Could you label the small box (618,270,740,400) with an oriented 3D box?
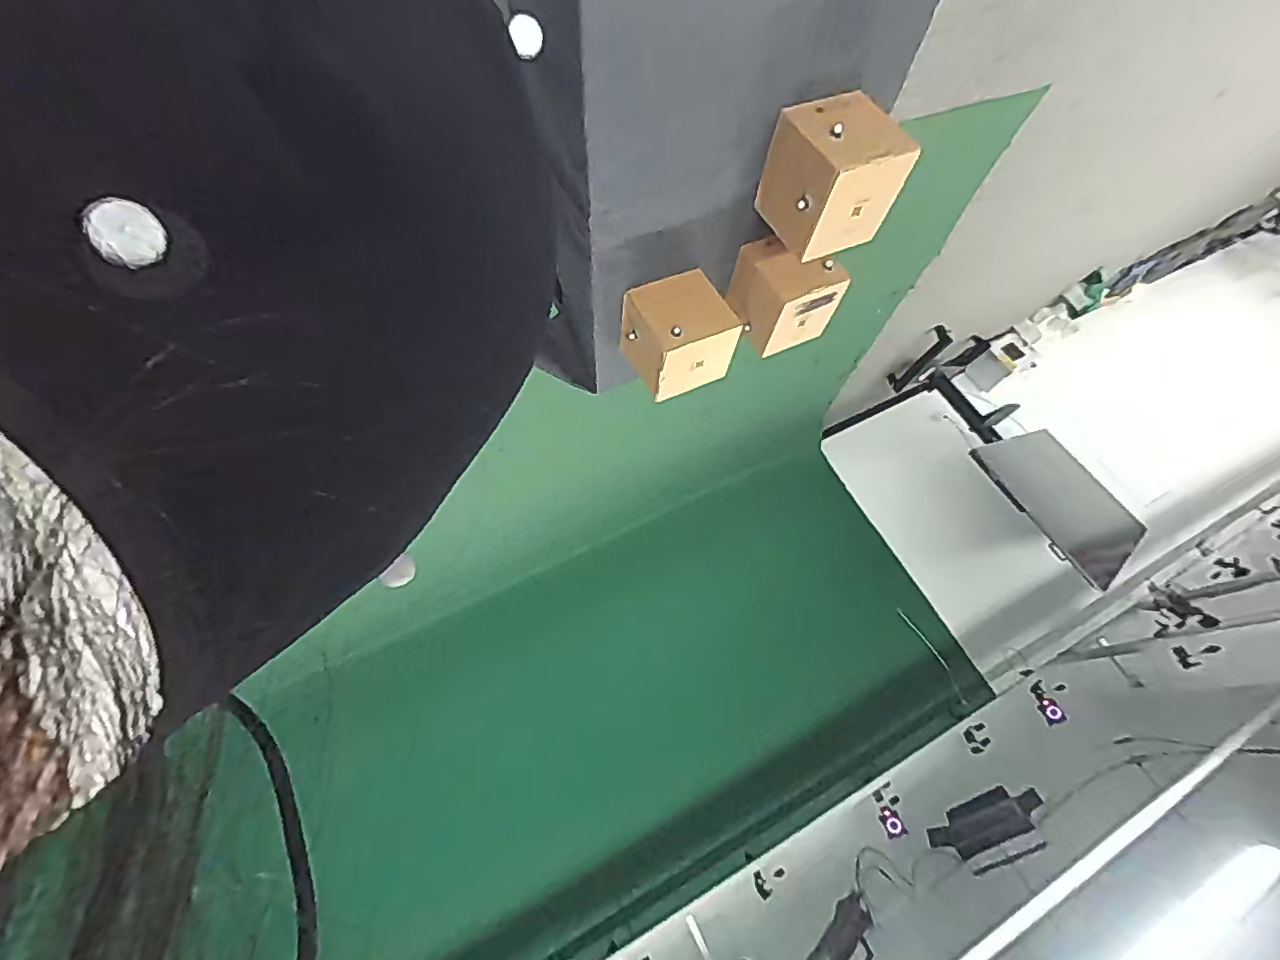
[{"bbox_3d":[0.073,-0.301,1.114,0.179,0.176,0.168,-24,158,-17],"label":"small box"}]
